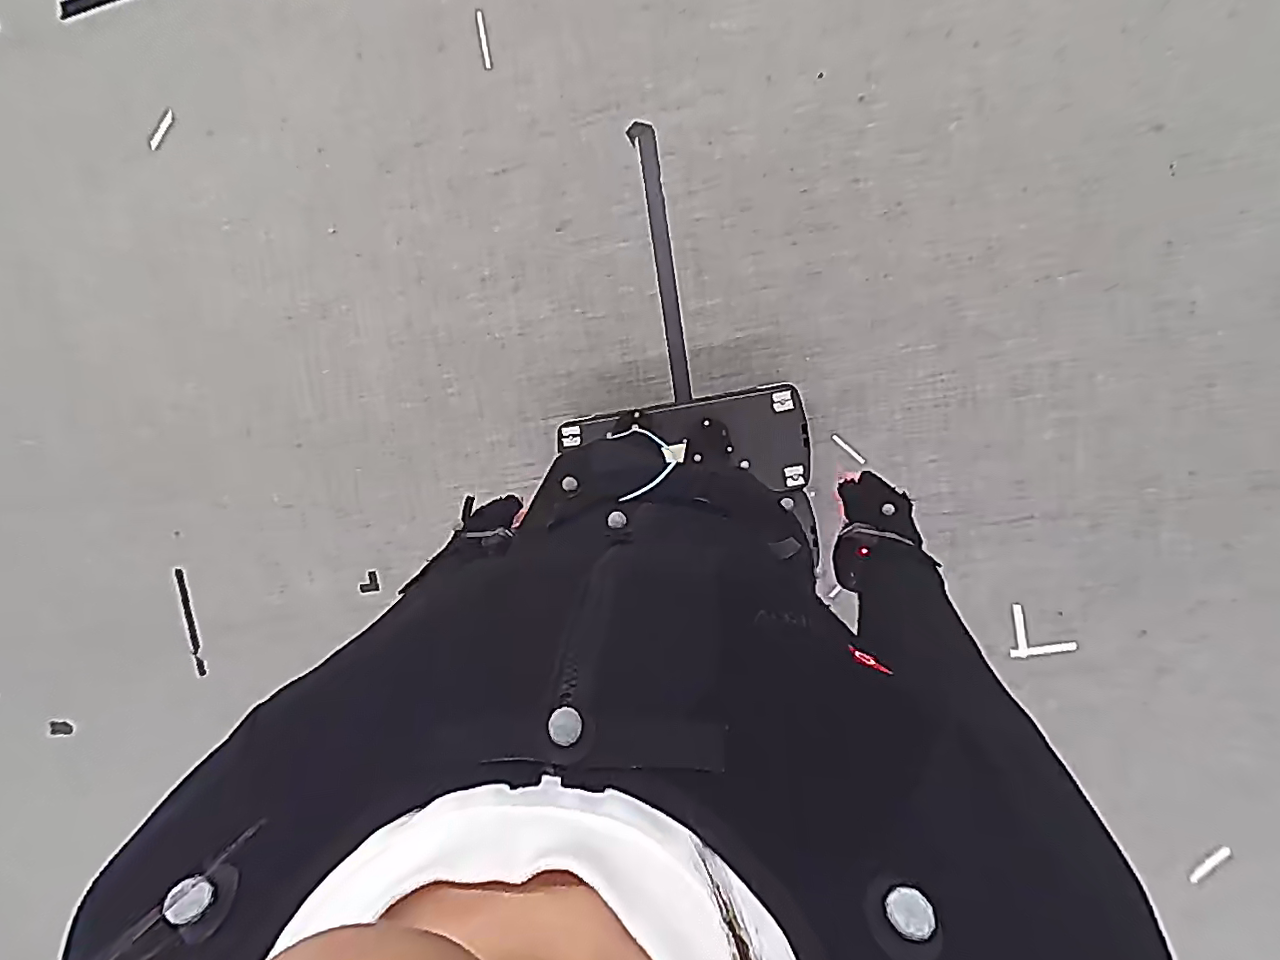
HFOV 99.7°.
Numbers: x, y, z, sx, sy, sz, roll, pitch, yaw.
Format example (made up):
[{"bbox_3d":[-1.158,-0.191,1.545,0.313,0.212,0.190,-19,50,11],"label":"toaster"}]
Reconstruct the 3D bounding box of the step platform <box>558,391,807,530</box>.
[{"bbox_3d":[0.115,-0.052,1.526,0.684,0.204,0.286,-10,97,8],"label":"step platform"}]
